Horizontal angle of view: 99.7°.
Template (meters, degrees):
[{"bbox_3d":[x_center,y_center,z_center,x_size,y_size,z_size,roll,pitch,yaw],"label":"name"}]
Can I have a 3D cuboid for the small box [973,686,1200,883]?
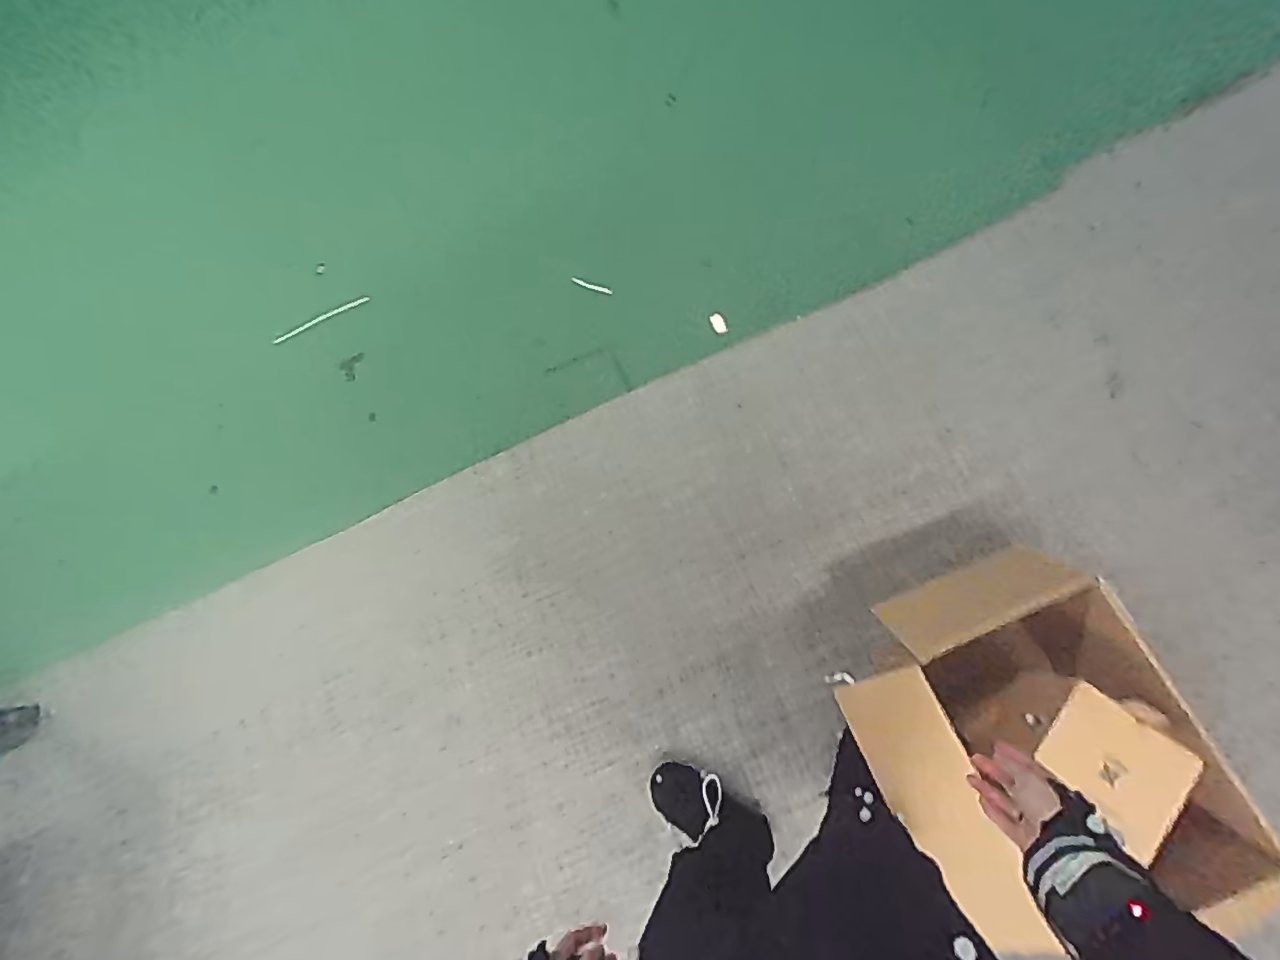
[{"bbox_3d":[0.641,0.430,0.804,0.168,0.176,0.179,37,82,17],"label":"small box"}]
